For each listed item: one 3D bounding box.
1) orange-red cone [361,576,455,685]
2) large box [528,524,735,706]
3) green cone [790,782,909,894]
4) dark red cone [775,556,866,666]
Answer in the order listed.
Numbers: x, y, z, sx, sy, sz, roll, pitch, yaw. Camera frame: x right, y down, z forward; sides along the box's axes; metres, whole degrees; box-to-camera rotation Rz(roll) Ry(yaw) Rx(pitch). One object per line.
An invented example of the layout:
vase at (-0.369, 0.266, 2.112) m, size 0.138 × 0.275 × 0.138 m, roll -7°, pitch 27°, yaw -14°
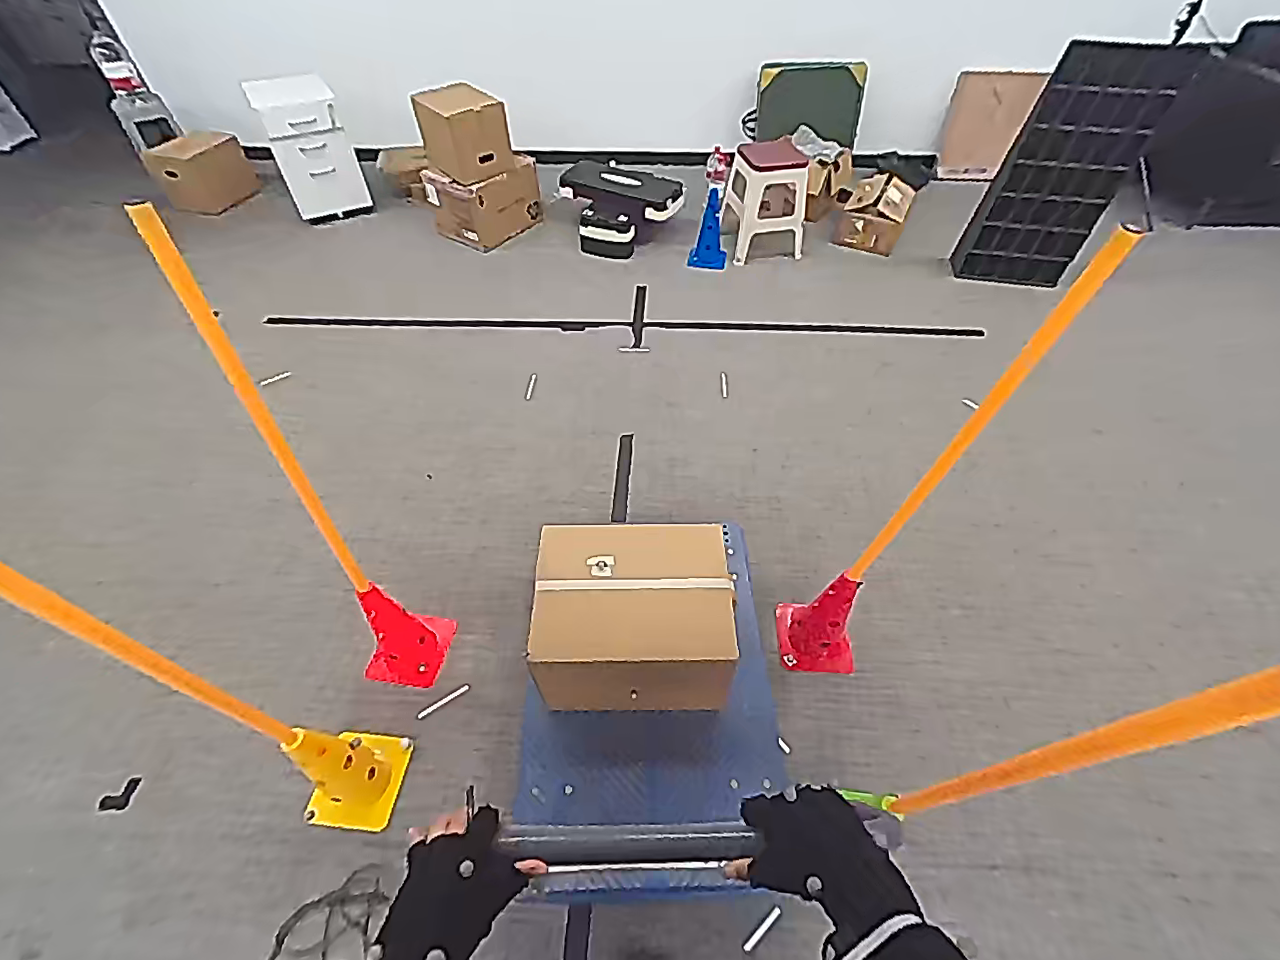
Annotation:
orange-red cone at (-0.638, 0.352, 1.390) m, size 0.198 × 0.360 × 0.199 m, roll 9°, pitch 49°, yaw 6°
large box at (-0.015, 0.315, 1.236) m, size 0.408 × 0.320 × 0.320 m, roll -1°, pitch 51°, yaw 0°
green cone at (0.451, 0.701, 1.103) m, size 0.202 × 0.368 × 0.200 m, roll 6°, pitch 50°, yaw 3°
dark red cone at (0.496, 0.320, 1.400) m, size 0.201 × 0.394 × 0.202 m, roll 4°, pitch 50°, yaw 0°
